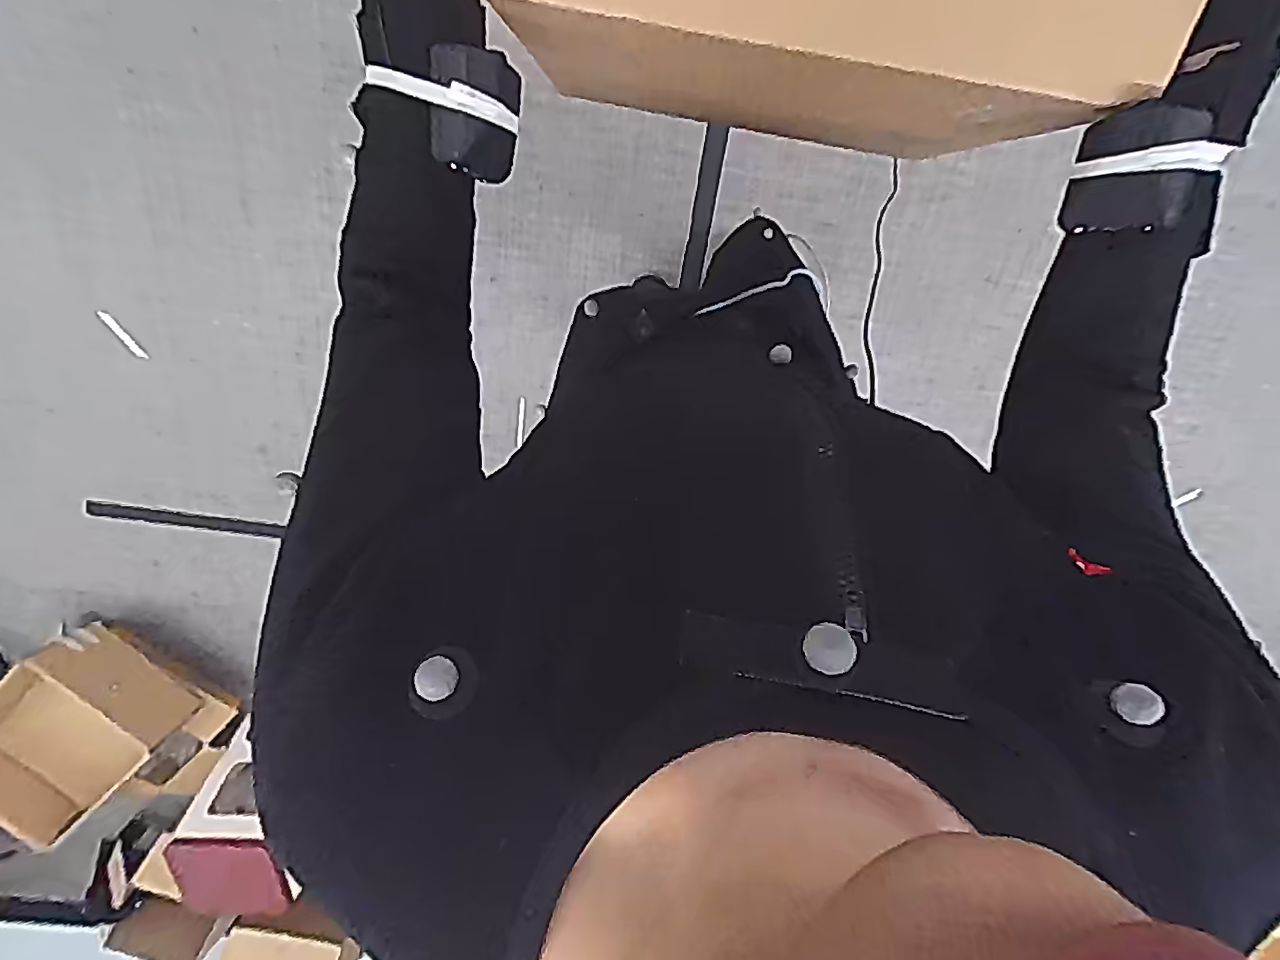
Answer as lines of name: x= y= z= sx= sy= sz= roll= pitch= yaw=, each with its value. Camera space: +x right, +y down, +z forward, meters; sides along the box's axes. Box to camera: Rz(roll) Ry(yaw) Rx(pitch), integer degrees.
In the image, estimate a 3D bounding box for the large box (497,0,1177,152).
large box: x=0.127 y=-0.456 z=0.389 sx=0.408 sy=0.320 sz=0.320 roll=8 pitch=117 yaw=-3
